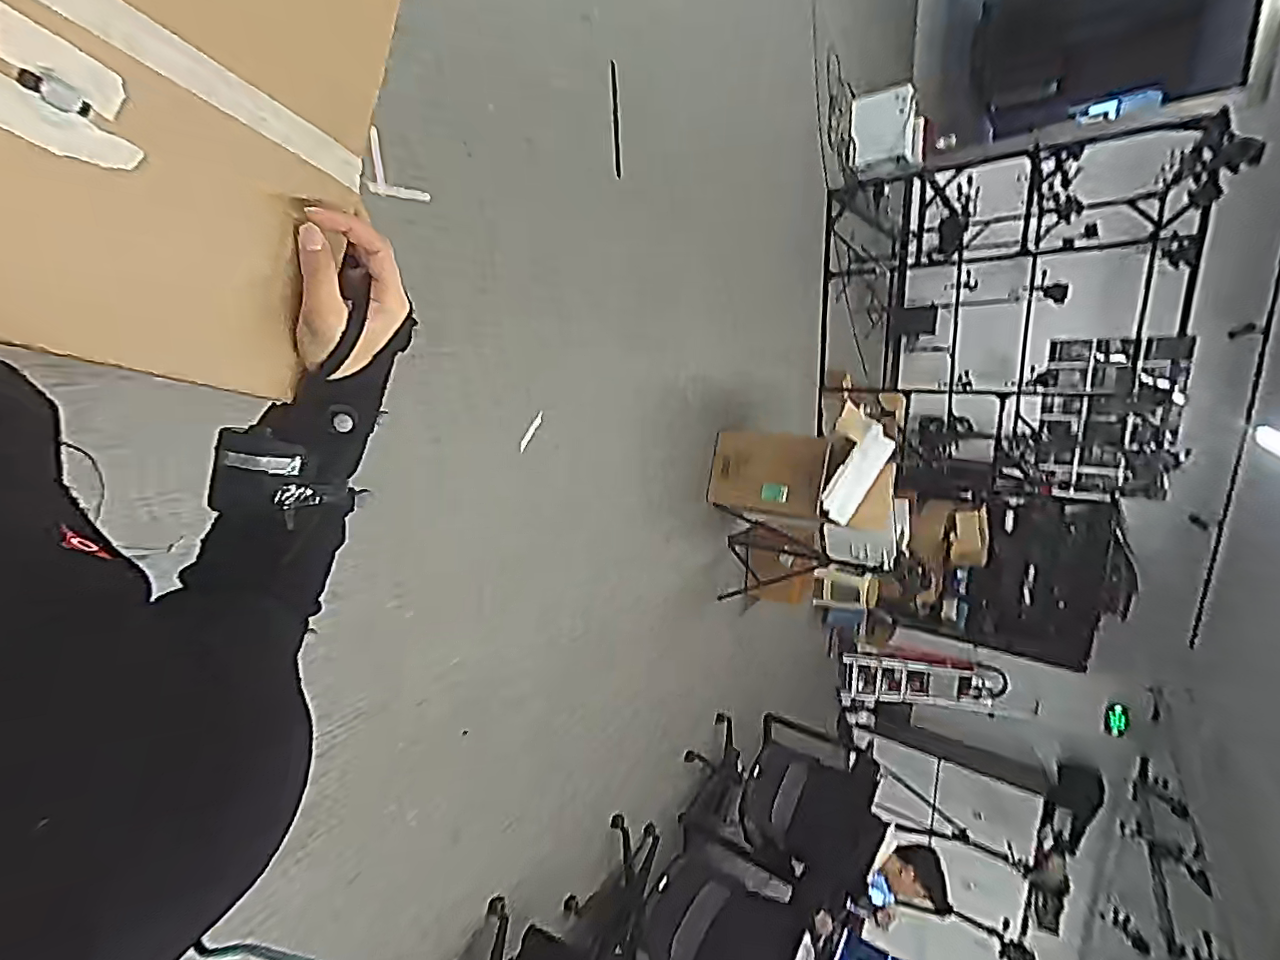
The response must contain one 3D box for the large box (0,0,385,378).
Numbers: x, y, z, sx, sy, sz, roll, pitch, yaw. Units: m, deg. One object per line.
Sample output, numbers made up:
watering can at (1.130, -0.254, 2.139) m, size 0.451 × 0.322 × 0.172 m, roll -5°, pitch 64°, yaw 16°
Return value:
large box at (-0.417, -0.262, 0.260) m, size 0.408 × 0.320 × 0.320 m, roll 10°, pitch 95°, yaw -63°
